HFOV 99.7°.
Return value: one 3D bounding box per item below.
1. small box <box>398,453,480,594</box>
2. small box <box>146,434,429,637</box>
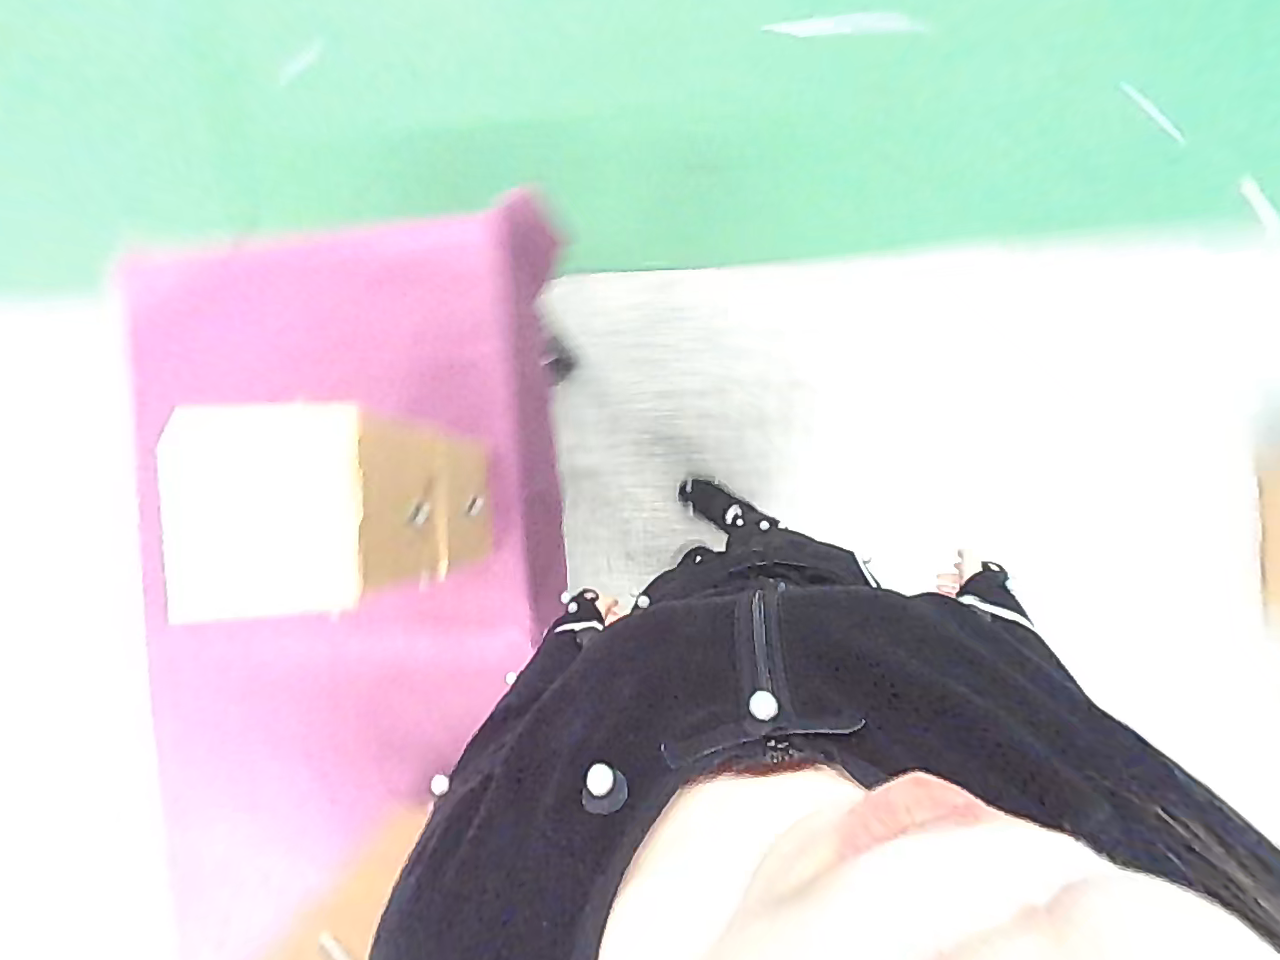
[{"bbox_3d":[-0.325,0.058,0.720,0.179,0.176,0.168,-8,88,4],"label":"small box"},{"bbox_3d":[-0.344,0.052,0.557,0.179,0.176,0.168,-8,89,2],"label":"small box"}]
